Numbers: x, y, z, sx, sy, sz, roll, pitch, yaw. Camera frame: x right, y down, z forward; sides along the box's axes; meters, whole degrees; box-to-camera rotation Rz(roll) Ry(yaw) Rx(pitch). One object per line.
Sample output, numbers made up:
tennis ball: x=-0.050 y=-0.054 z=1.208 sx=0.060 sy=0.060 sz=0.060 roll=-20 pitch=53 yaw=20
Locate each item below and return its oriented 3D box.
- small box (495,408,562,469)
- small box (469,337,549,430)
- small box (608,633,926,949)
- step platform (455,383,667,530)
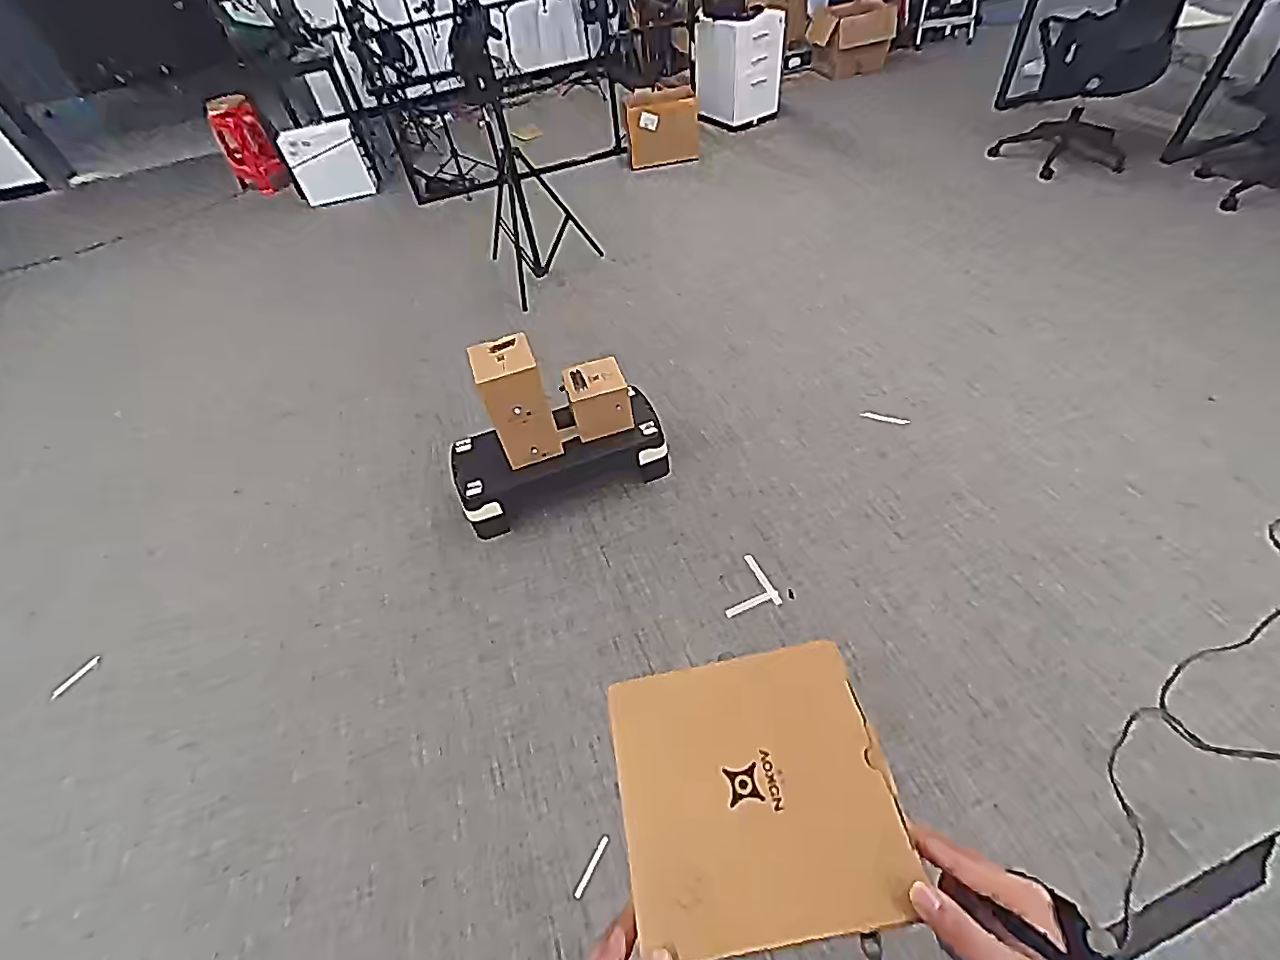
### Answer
small box: x=-0.349 y=-0.163 z=1.650 sx=0.168 sy=0.176 sz=0.179 roll=-19 pitch=50 yaw=-7
small box: x=-0.368 y=-0.272 z=1.529 sx=0.168 sy=0.176 sz=0.179 roll=-19 pitch=50 yaw=-9
small box: x=0.082 y=0.243 z=0.424 sx=0.179 sy=0.176 sz=0.168 roll=-12 pitch=53 yaw=1
step platform: x=-0.259 y=-0.089 z=1.805 sx=0.684 sy=0.204 sz=0.286 roll=-20 pitch=49 yaw=-9
